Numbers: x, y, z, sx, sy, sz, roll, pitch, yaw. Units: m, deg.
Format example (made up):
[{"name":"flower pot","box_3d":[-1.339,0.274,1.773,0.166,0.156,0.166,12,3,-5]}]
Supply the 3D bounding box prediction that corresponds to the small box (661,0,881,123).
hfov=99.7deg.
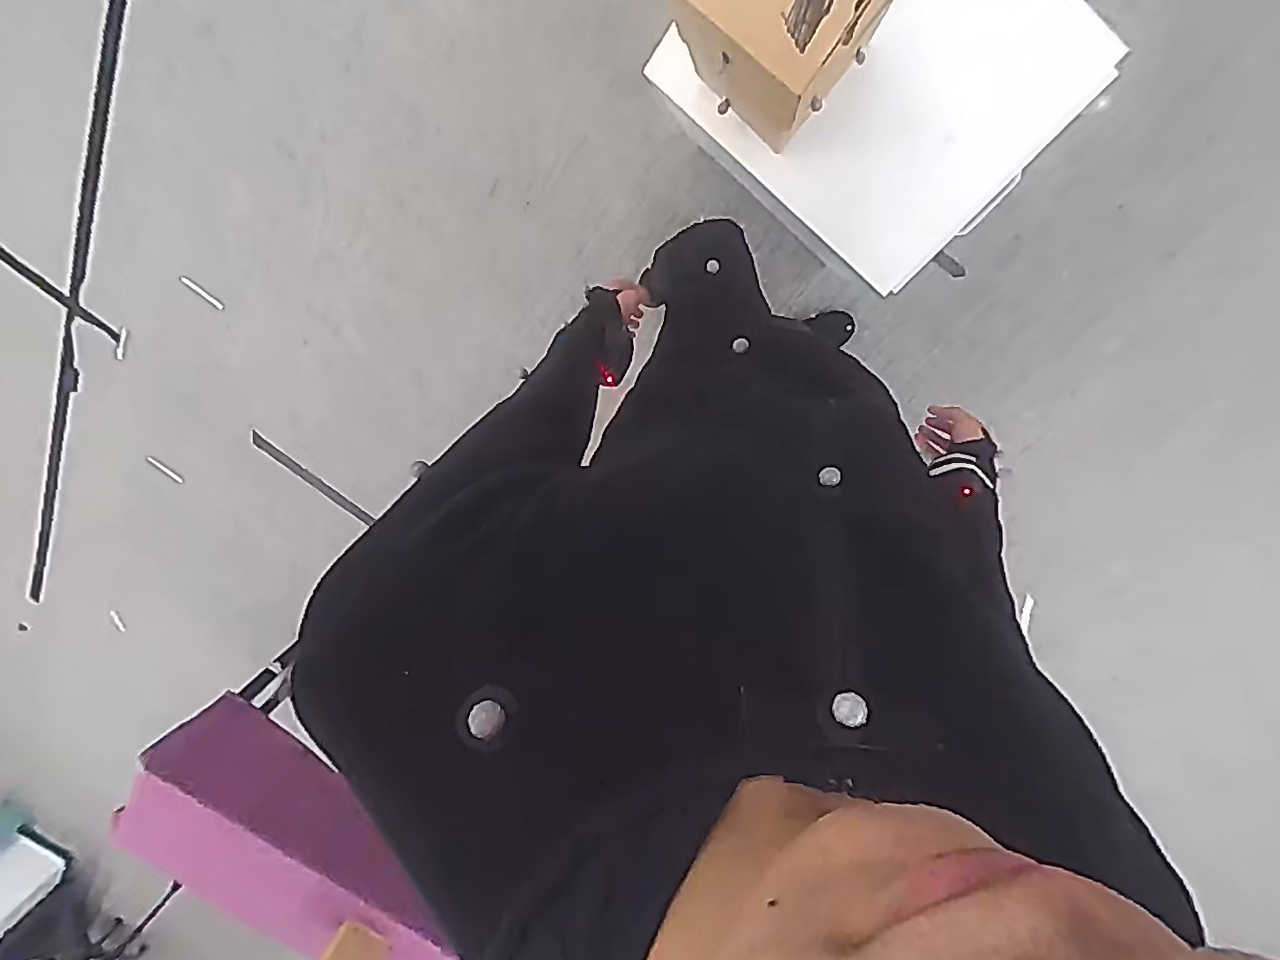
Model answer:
[{"name":"small box","box_3d":[0.143,-0.501,0.551,0.179,0.176,0.168,37,114,-4]}]

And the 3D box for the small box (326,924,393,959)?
[{"name":"small box","box_3d":[-0.956,1.625,1.787,0.168,0.176,0.179,37,116,-6]}]

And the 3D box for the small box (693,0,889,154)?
[{"name":"small box","box_3d":[0.179,-0.563,0.699,0.168,0.176,0.179,40,115,-7]}]
